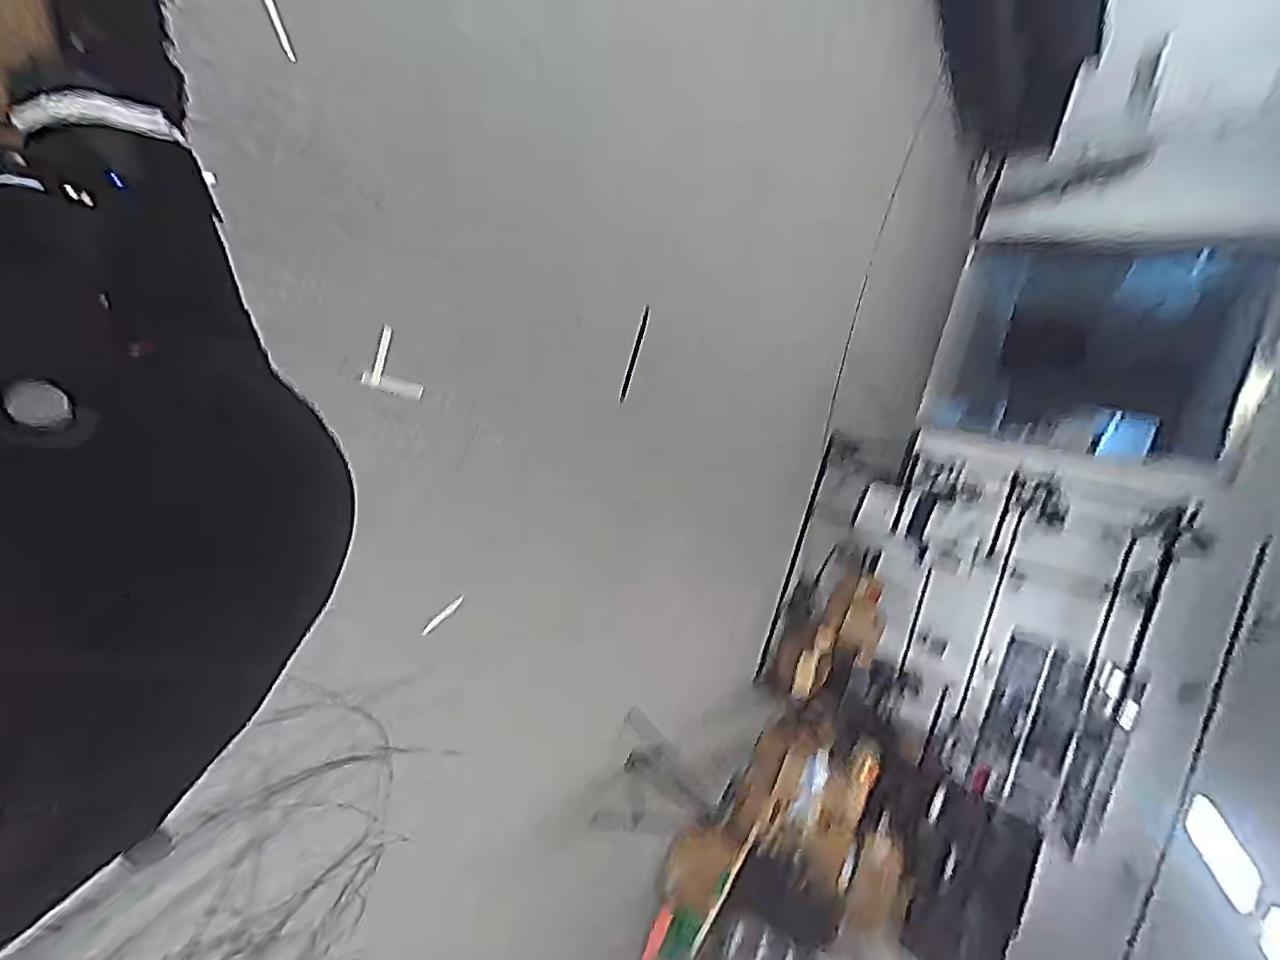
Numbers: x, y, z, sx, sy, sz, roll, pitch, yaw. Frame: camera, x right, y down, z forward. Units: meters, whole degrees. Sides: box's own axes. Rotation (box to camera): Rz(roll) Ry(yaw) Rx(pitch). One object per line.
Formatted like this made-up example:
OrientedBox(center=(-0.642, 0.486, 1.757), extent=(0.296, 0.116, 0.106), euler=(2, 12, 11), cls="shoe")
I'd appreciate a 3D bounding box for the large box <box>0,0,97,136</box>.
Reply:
OrientedBox(center=(-0.636, -0.386, 0.280), extent=(0.408, 0.320, 0.320), euler=(-26, 129, -45), cls="large box")
